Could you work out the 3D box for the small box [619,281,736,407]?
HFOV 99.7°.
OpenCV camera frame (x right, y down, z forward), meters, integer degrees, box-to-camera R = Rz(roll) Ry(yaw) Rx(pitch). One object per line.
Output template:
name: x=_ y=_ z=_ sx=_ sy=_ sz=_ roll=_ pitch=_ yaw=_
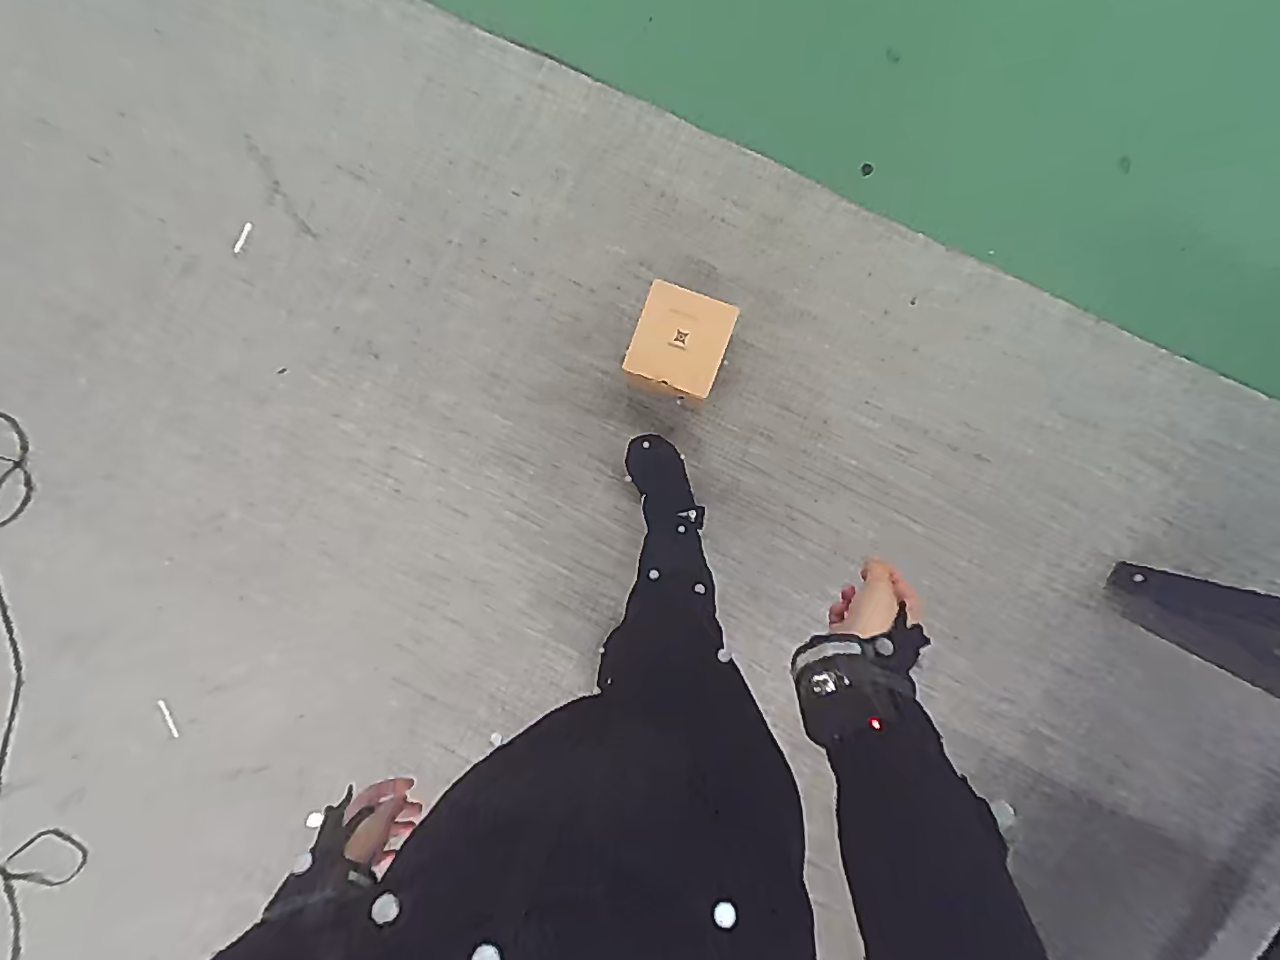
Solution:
small box: x=0.072 y=-0.251 z=1.047 sx=0.168 sy=0.176 sz=0.179 roll=20 pitch=92 yaw=2
